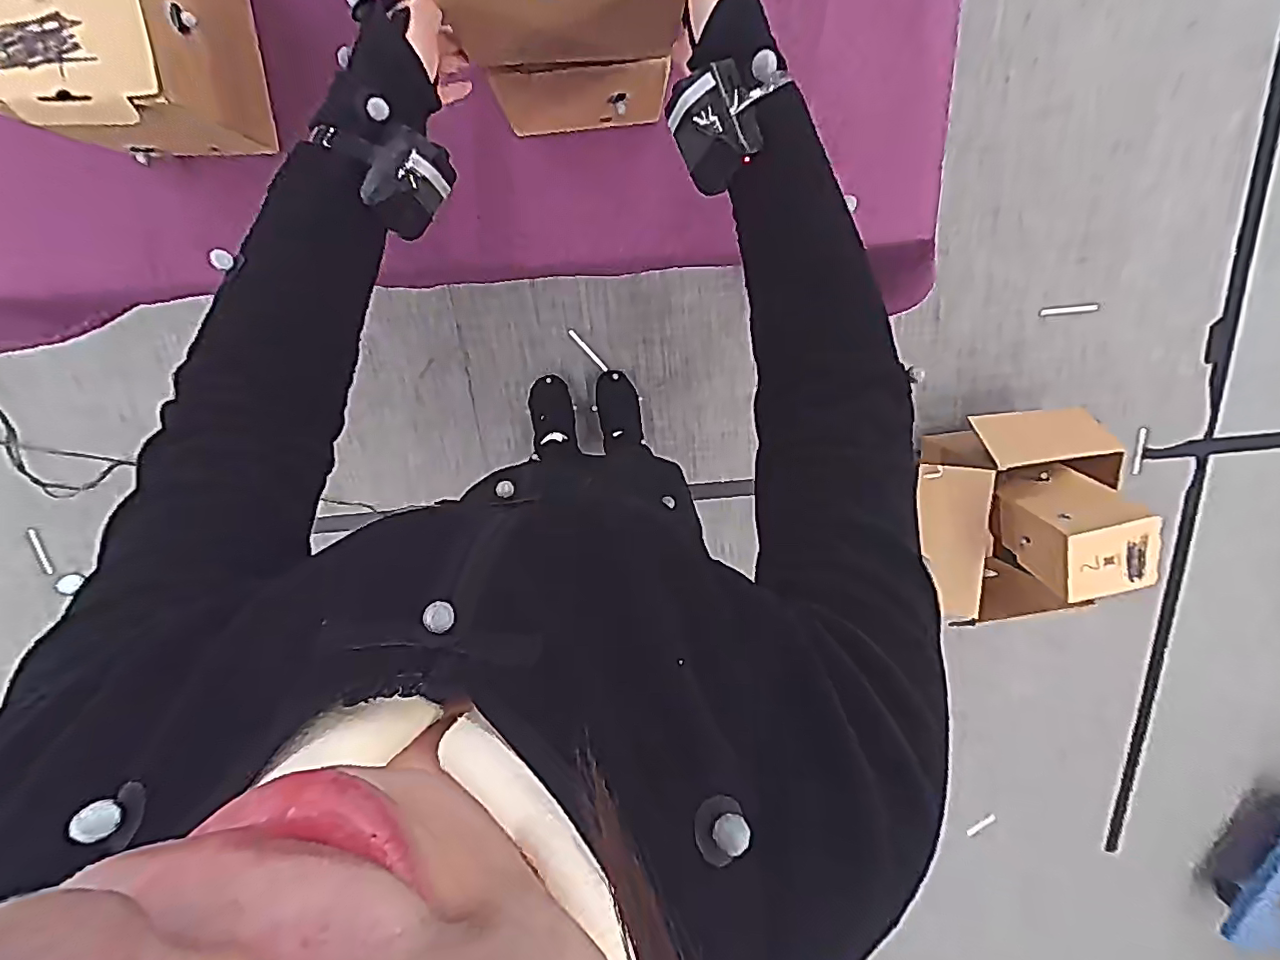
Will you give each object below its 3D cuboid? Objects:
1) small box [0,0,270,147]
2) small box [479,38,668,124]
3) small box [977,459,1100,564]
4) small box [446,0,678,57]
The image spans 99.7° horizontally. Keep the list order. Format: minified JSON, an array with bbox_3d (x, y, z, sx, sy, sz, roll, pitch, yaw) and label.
[{"bbox_3d":[-0.487,-0.428,0.505,0.168,0.176,0.179,-2,107,-2],"label":"small box"},{"bbox_3d":[-0.065,-0.462,0.515,0.168,0.176,0.179,-6,108,-1],"label":"small box"},{"bbox_3d":[0.954,0.066,1.309,0.168,0.176,0.179,-25,111,9],"label":"small box"},{"bbox_3d":[-0.058,-0.412,0.356,0.179,0.176,0.168,-4,106,-2],"label":"small box"}]
